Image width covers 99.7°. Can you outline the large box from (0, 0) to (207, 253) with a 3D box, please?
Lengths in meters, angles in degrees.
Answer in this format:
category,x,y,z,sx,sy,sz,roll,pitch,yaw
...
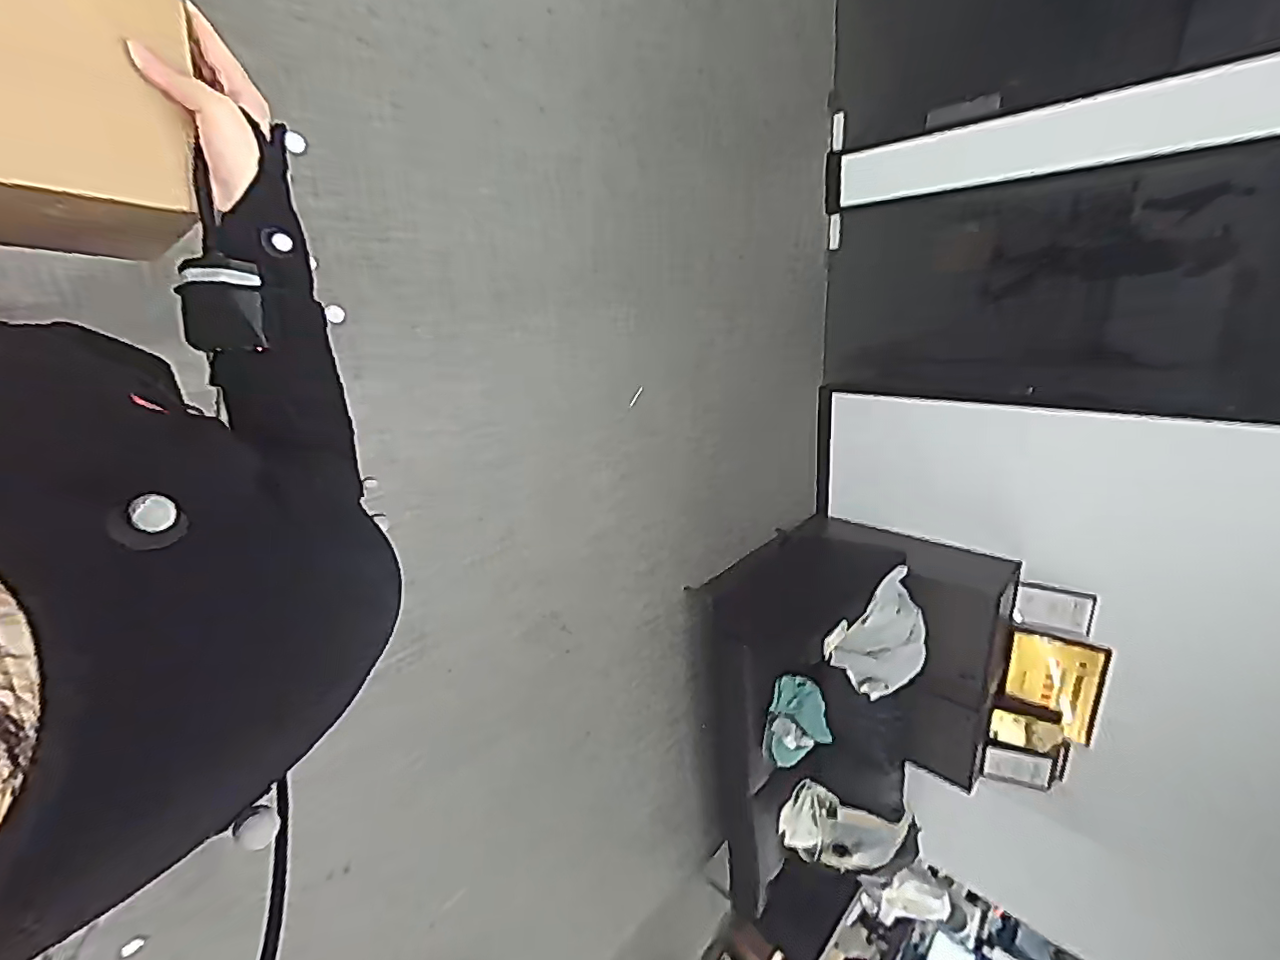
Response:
category,x,y,z,sx,sy,sz,roll,pitch,yaw
large box,-0.571,-0.348,0.333,0.408,0.320,0.320,-12,108,-47
